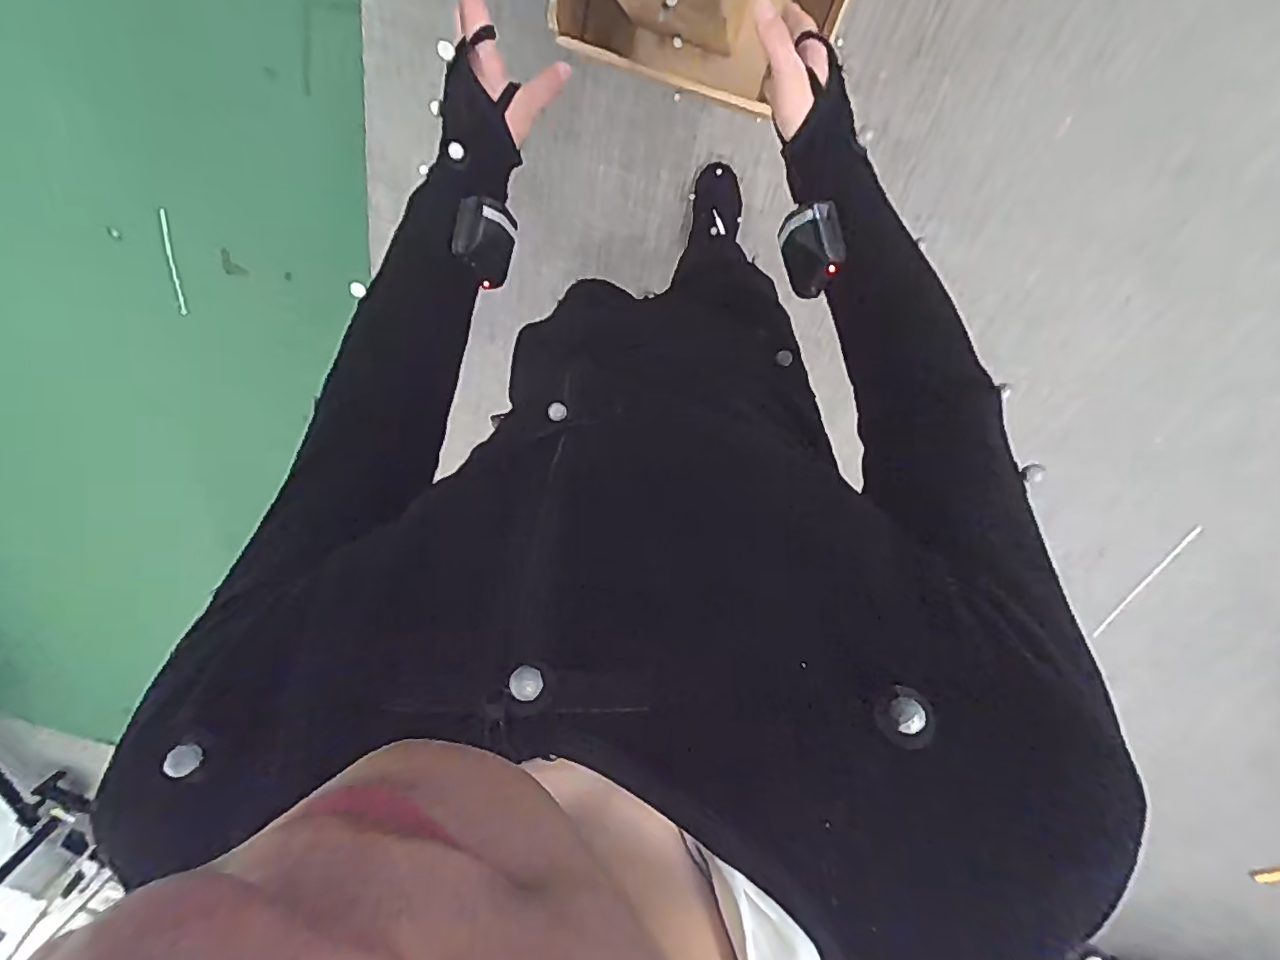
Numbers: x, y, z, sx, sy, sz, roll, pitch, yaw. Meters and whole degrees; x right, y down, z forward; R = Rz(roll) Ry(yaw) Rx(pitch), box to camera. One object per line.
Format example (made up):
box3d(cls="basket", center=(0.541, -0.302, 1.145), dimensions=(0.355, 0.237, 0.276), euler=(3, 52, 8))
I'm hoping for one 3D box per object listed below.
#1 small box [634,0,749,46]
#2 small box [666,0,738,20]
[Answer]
box3d(cls="small box", center=(0.082, -0.735, 0.738), dimensions=(0.168, 0.176, 0.179), euler=(19, 122, 0))
box3d(cls="small box", center=(0.053, -0.652, 0.600), dimensions=(0.168, 0.176, 0.179), euler=(19, 123, -1))
